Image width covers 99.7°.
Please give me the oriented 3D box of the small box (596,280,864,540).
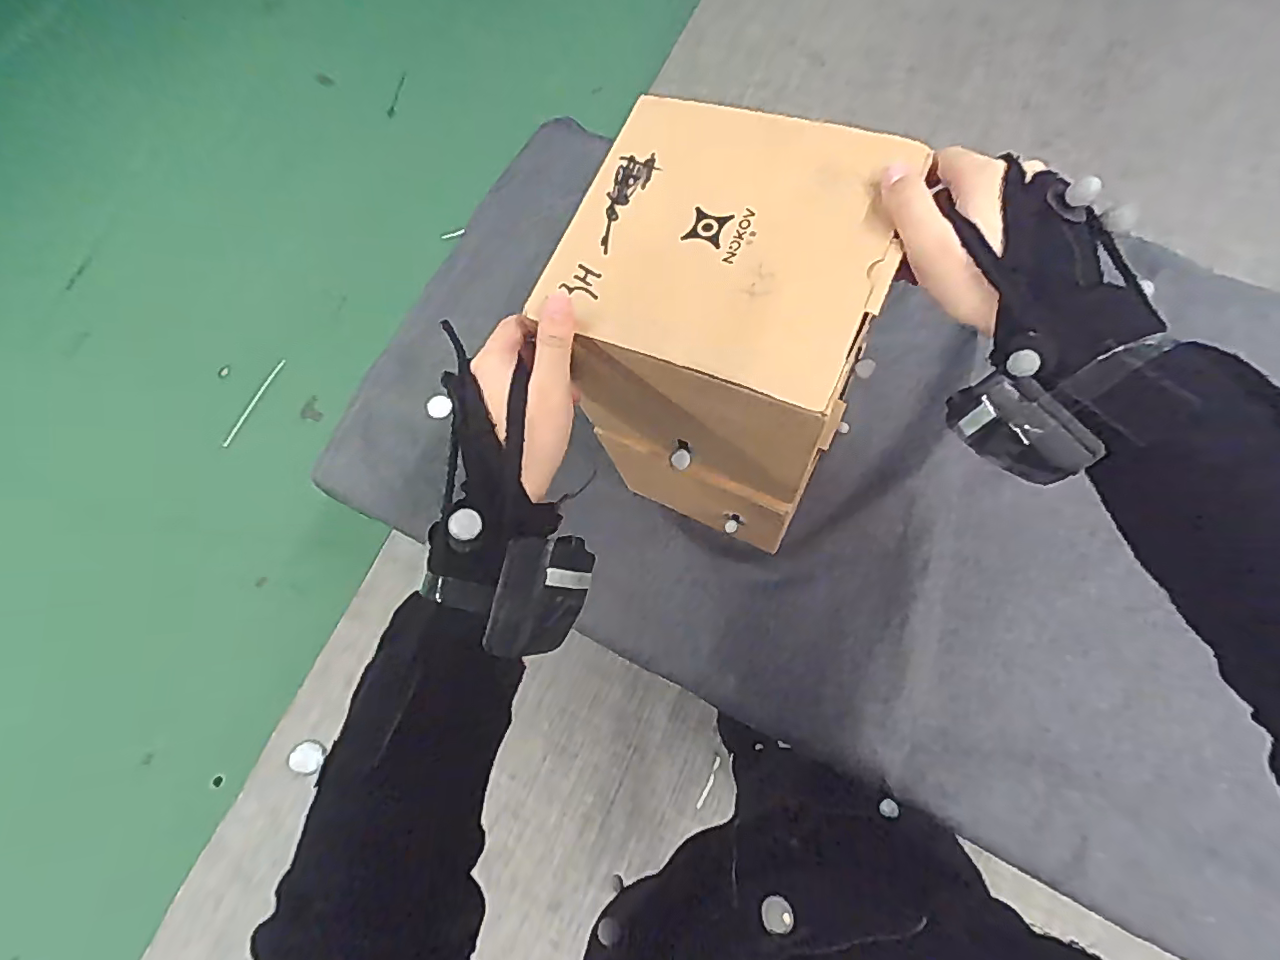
[{"bbox_3d":[0.086,-0.055,0.526,0.179,0.176,0.168,23,76,17],"label":"small box"}]
